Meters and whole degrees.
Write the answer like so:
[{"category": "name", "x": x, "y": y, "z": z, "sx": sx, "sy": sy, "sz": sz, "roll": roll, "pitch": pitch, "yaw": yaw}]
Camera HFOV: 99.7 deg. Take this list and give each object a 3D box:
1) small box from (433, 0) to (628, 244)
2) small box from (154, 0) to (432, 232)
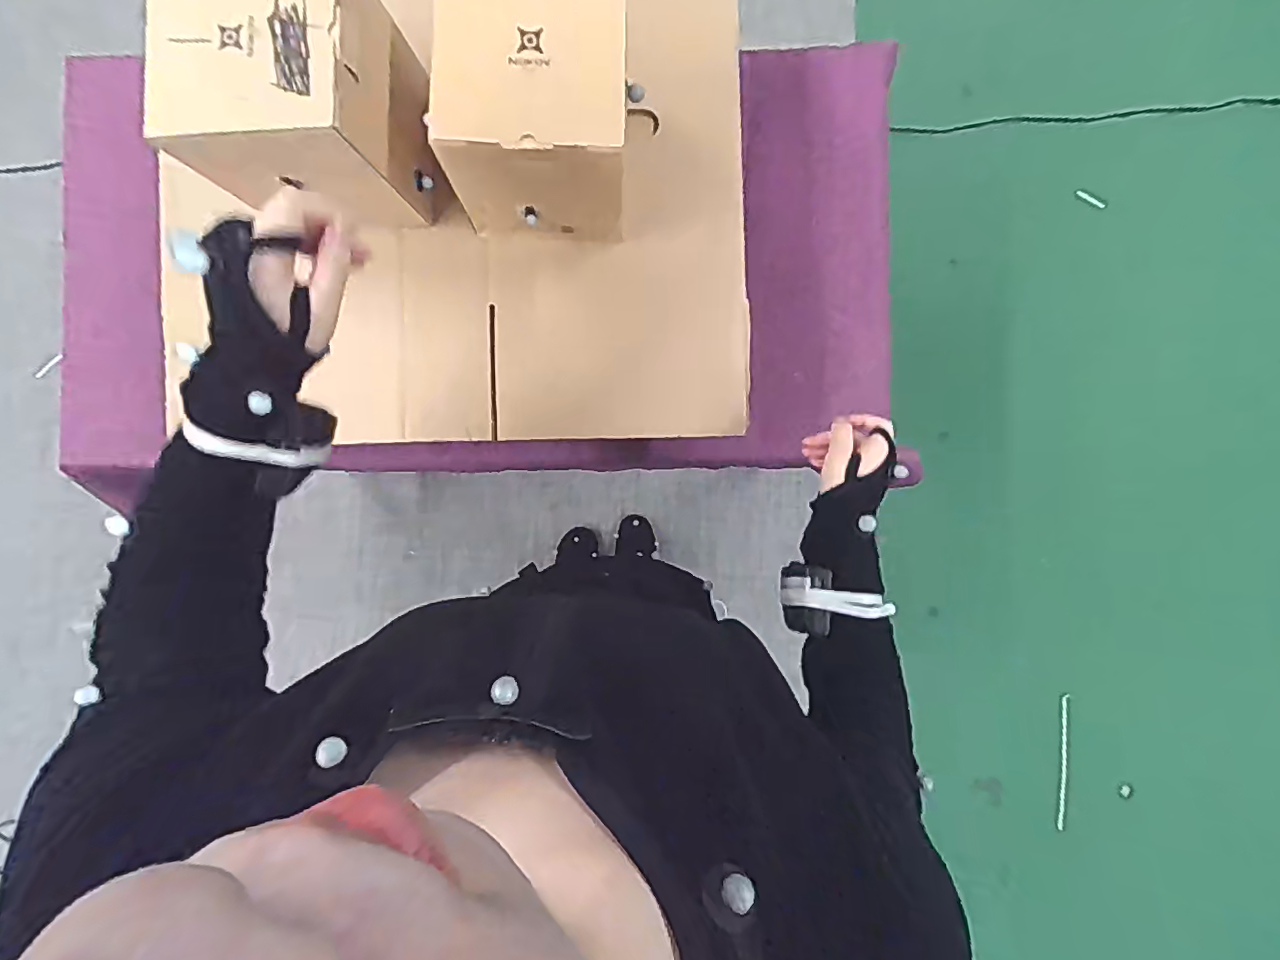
[{"category": "small box", "x": -0.098, "y": -0.365, "z": 0.548, "sx": 0.168, "sy": 0.176, "sz": 0.179, "roll": 1, "pitch": 90, "yaw": -2}, {"category": "small box", "x": -0.328, "y": -0.369, "z": 0.544, "sx": 0.179, "sy": 0.176, "sz": 0.168, "roll": 1, "pitch": 89, "yaw": 7}]
